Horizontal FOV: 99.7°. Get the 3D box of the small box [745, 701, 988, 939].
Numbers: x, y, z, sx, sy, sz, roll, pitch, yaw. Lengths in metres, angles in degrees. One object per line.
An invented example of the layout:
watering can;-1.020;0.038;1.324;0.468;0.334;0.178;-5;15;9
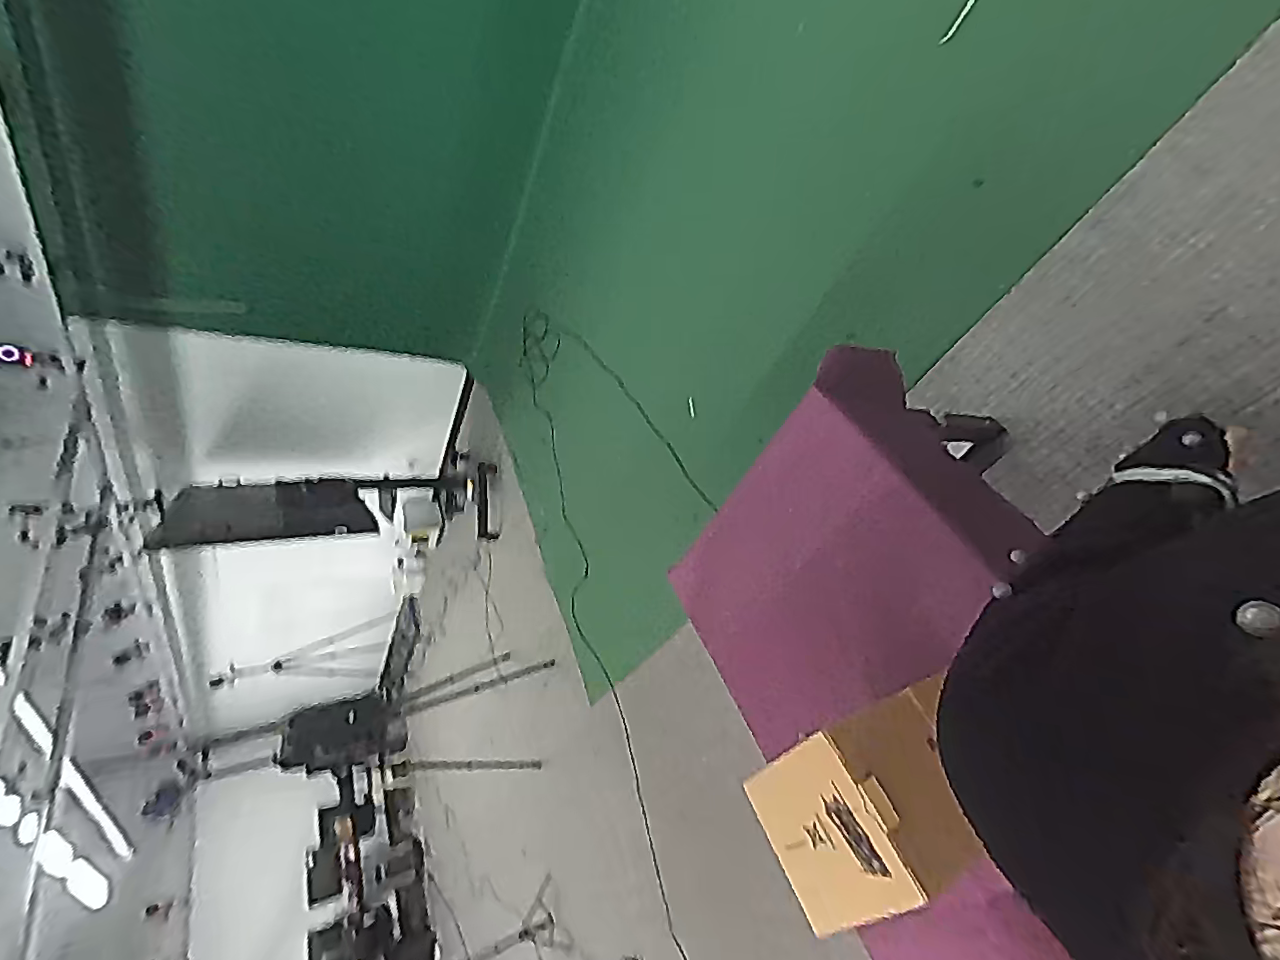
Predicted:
small box;0.265;0.386;0.633;0.168;0.176;0.179;61;138;35
